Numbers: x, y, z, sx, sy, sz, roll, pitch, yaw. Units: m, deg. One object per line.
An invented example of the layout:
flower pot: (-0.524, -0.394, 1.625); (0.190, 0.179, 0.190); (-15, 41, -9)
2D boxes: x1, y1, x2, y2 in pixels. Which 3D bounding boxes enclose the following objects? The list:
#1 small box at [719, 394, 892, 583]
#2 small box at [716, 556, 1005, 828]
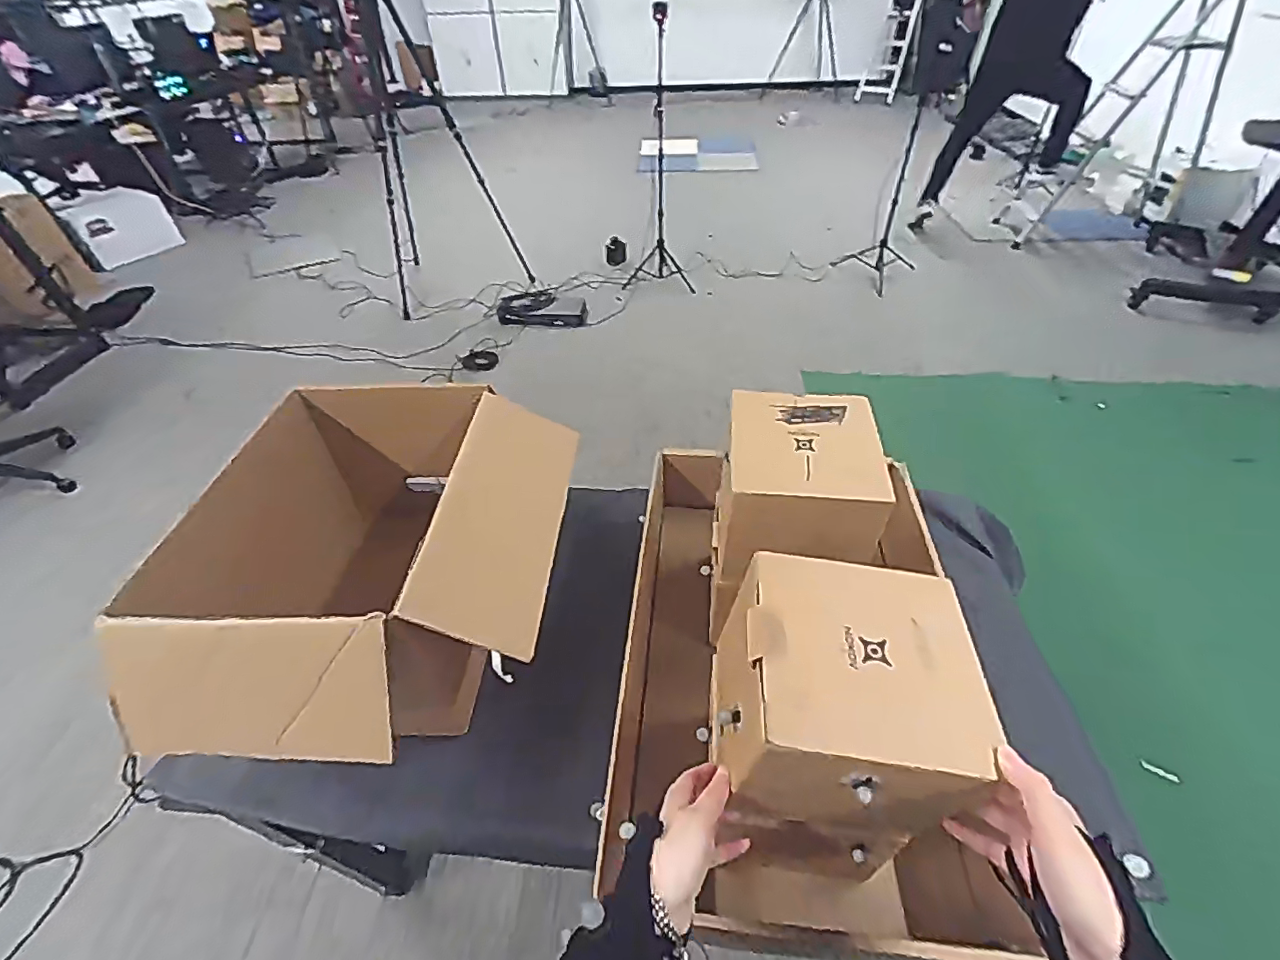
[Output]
small box: (0.188, 0.016, 0.670); (0.168, 0.176, 0.179); (4, 48, 6)
small box: (0.168, 0.193, 0.484); (0.179, 0.176, 0.168); (9, 47, 0)
